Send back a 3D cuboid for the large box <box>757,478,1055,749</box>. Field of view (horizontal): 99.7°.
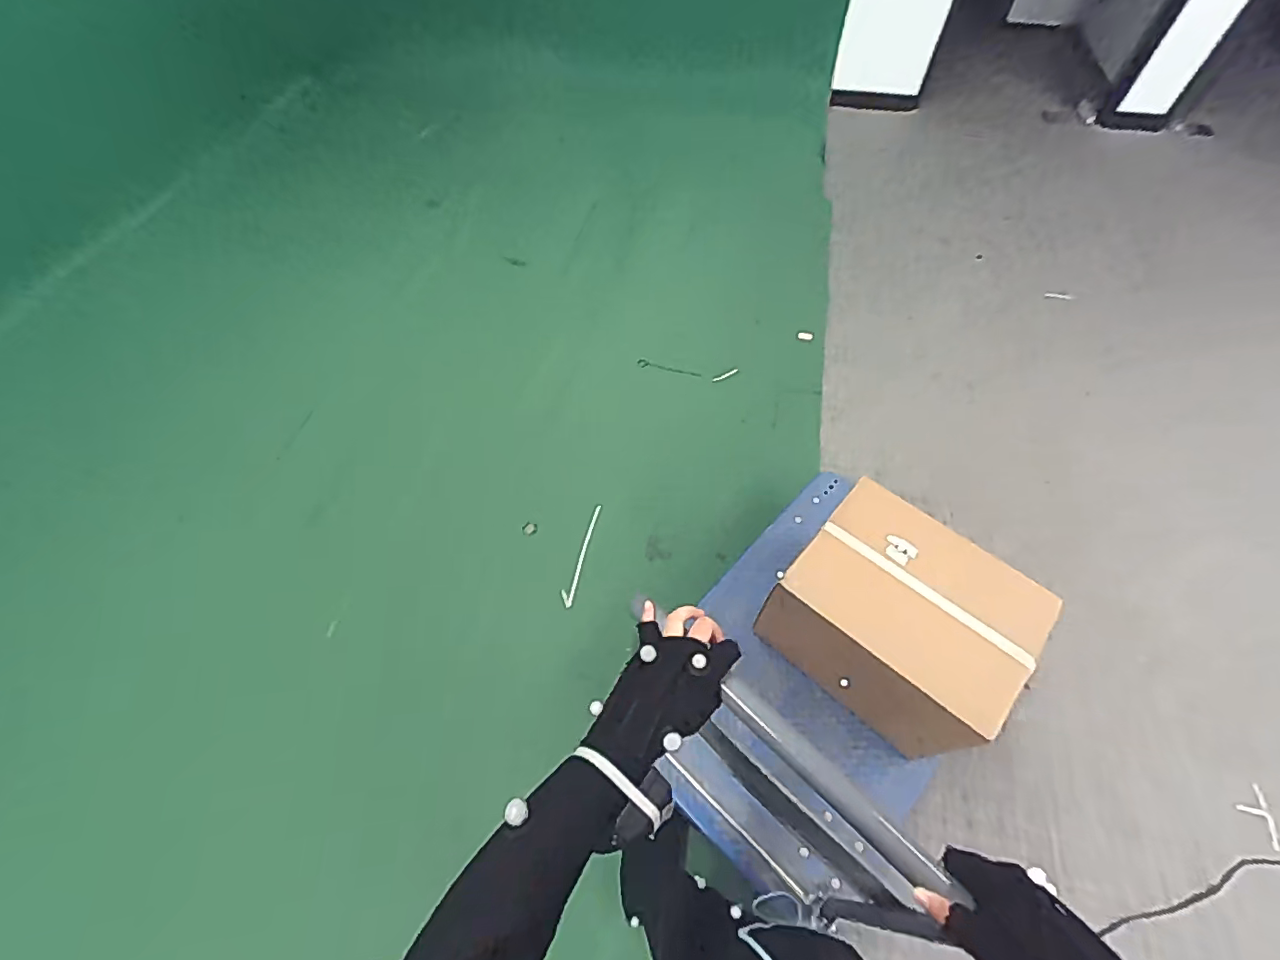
[{"bbox_3d":[0.510,0.277,1.114,0.408,0.320,0.320,36,65,22],"label":"large box"}]
